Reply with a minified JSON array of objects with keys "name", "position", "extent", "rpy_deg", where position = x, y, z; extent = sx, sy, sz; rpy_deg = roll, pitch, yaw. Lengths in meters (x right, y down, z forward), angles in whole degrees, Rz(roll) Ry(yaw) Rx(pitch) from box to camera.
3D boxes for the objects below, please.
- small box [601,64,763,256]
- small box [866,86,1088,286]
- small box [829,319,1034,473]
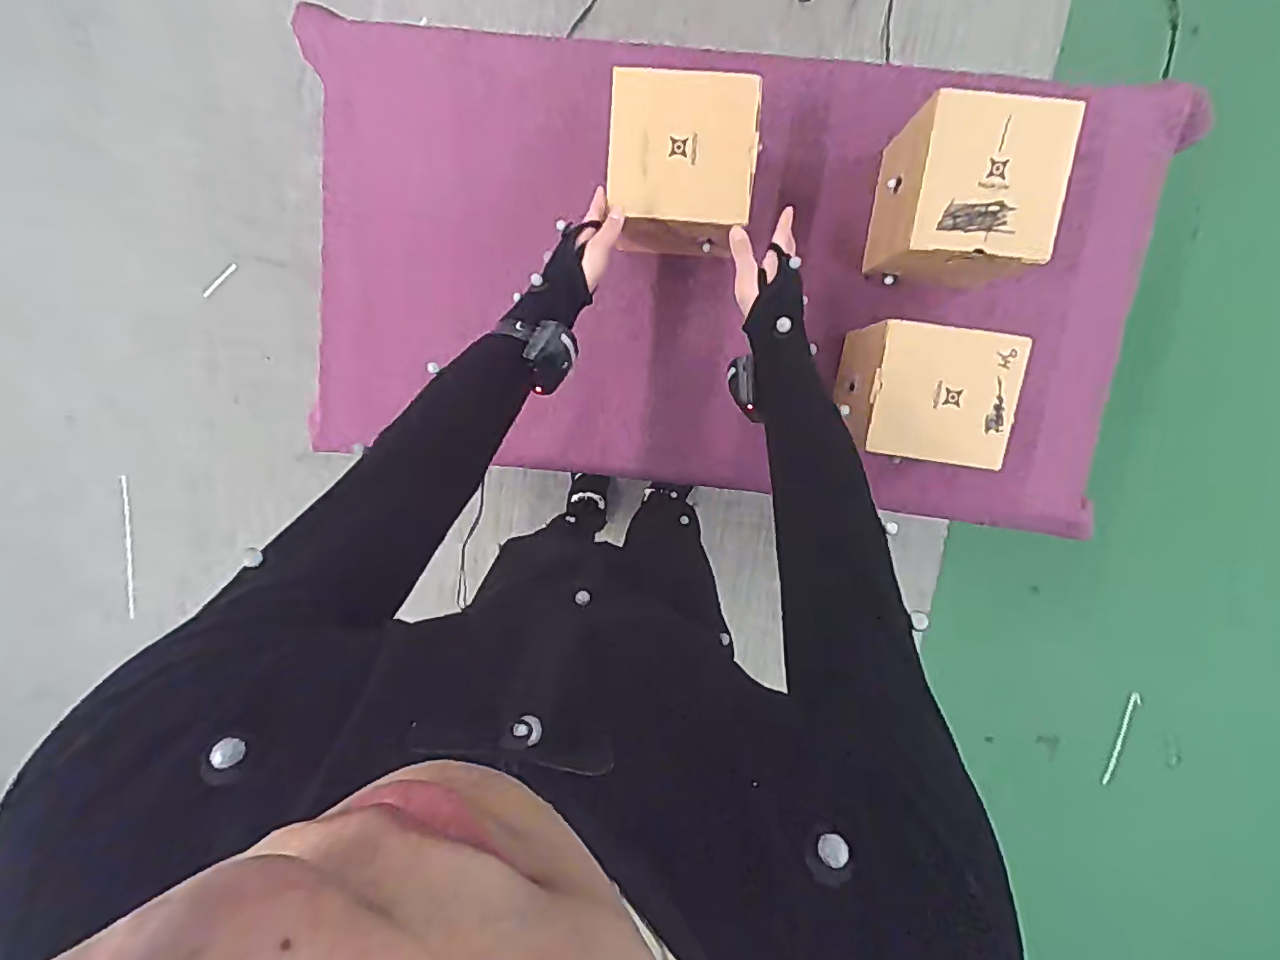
[{"name":"small box","position":[0.051,-0.400,0.705],"extent":[0.179,0.176,0.168],"rpy_deg":[5,100,3]},{"name":"small box","position":[0.407,-0.357,0.690],"extent":[0.168,0.176,0.179],"rpy_deg":[7,100,2]},{"name":"small box","position":[0.374,-0.111,0.732],"extent":[0.179,0.176,0.168],"rpy_deg":[9,99,3]}]
